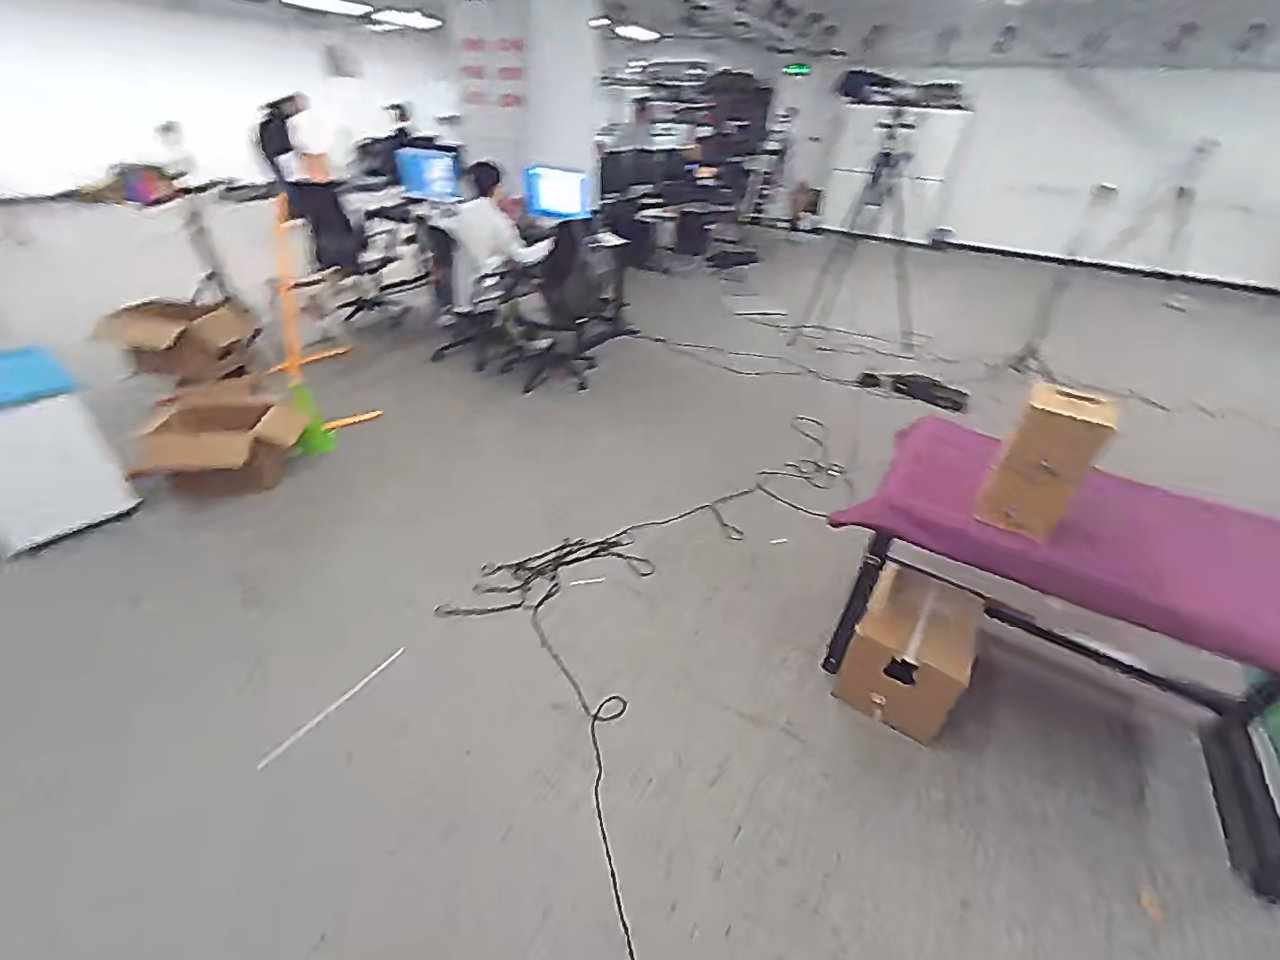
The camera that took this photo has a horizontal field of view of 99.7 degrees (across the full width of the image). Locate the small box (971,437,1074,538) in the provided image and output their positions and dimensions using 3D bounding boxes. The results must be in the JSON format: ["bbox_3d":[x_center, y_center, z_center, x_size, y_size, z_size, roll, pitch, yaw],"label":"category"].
[{"bbox_3d":[0.980,0.019,1.393,0.168,0.176,0.179,23,39,27],"label":"small box"}]
